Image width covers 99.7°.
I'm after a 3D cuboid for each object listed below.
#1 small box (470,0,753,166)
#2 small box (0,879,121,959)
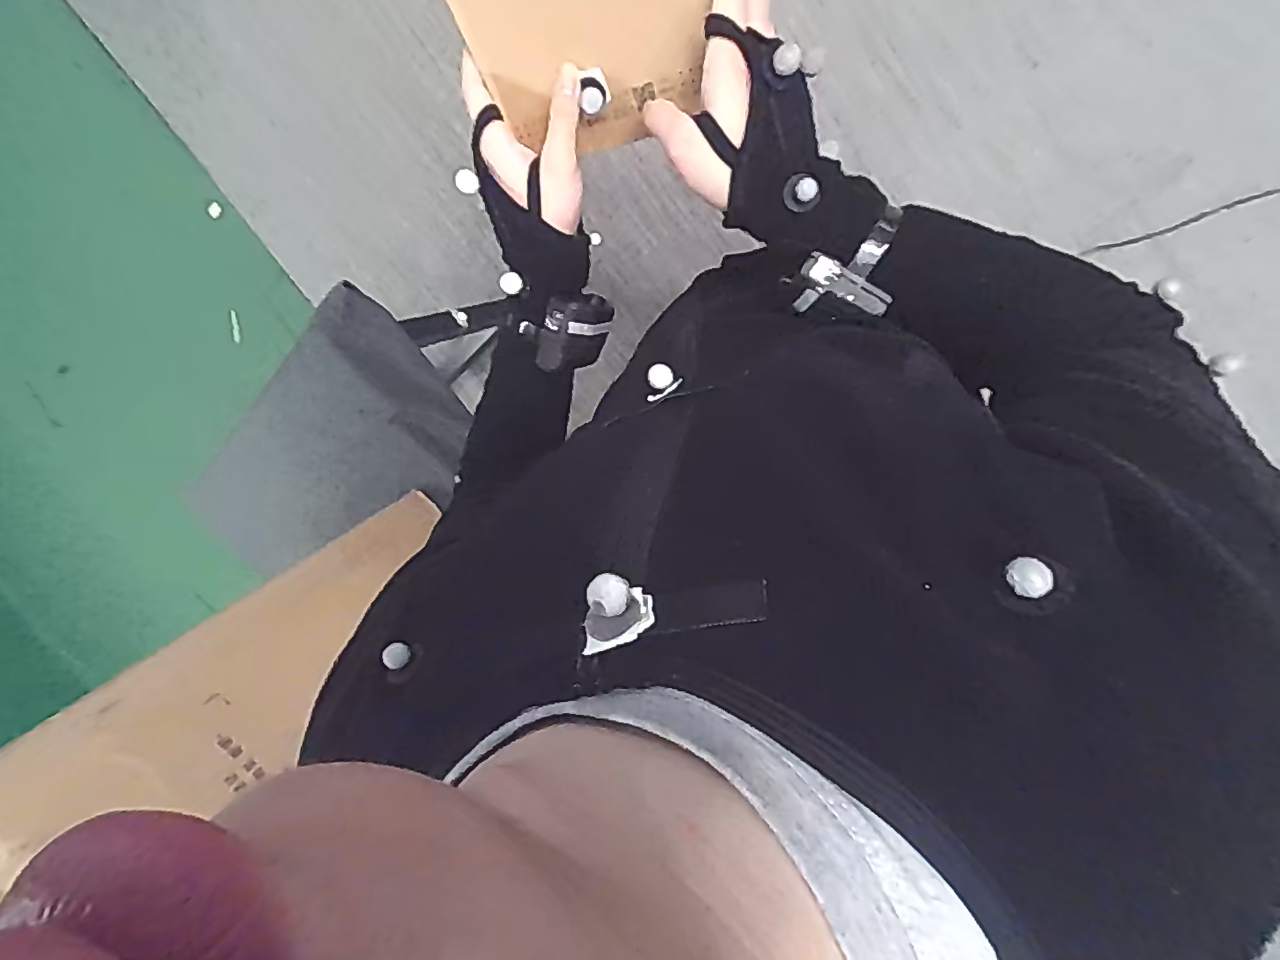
[{"bbox_3d":[-0.019,-0.357,0.377,0.168,0.179,0.176,-7,142,20],"label":"small box"},{"bbox_3d":[-0.564,0.463,0.438,0.179,0.176,0.168,-11,108,21],"label":"small box"}]
